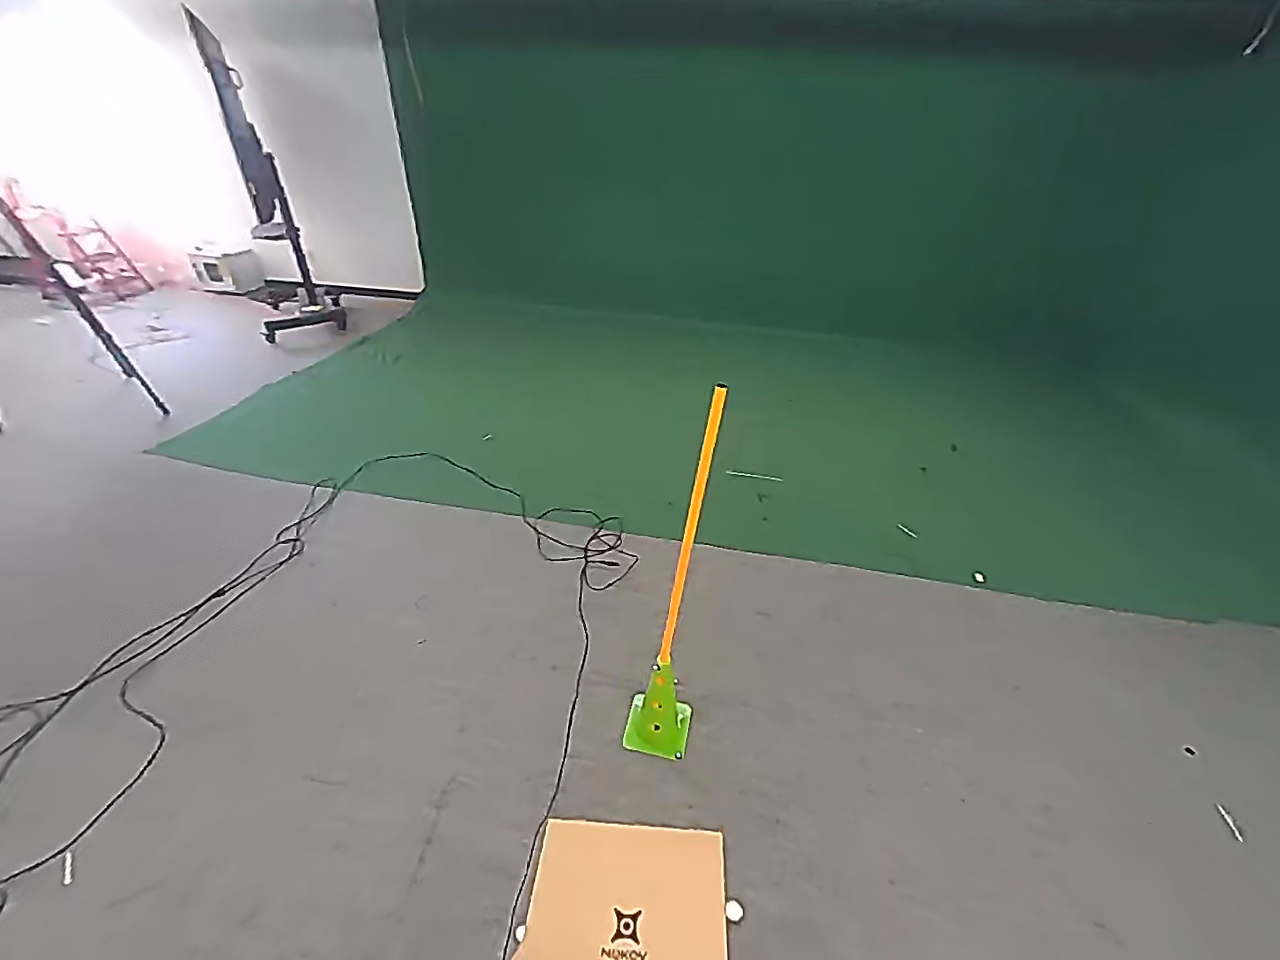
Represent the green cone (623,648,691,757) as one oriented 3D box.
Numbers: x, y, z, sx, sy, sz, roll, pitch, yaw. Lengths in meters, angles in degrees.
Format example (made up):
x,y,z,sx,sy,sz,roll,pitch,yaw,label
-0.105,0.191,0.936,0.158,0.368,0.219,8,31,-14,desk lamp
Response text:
x,y,z,sx,sy,sz,roll,pitch,yaw,label
0.060,0.651,1.669,0.202,0.368,0.200,8,34,10,green cone
